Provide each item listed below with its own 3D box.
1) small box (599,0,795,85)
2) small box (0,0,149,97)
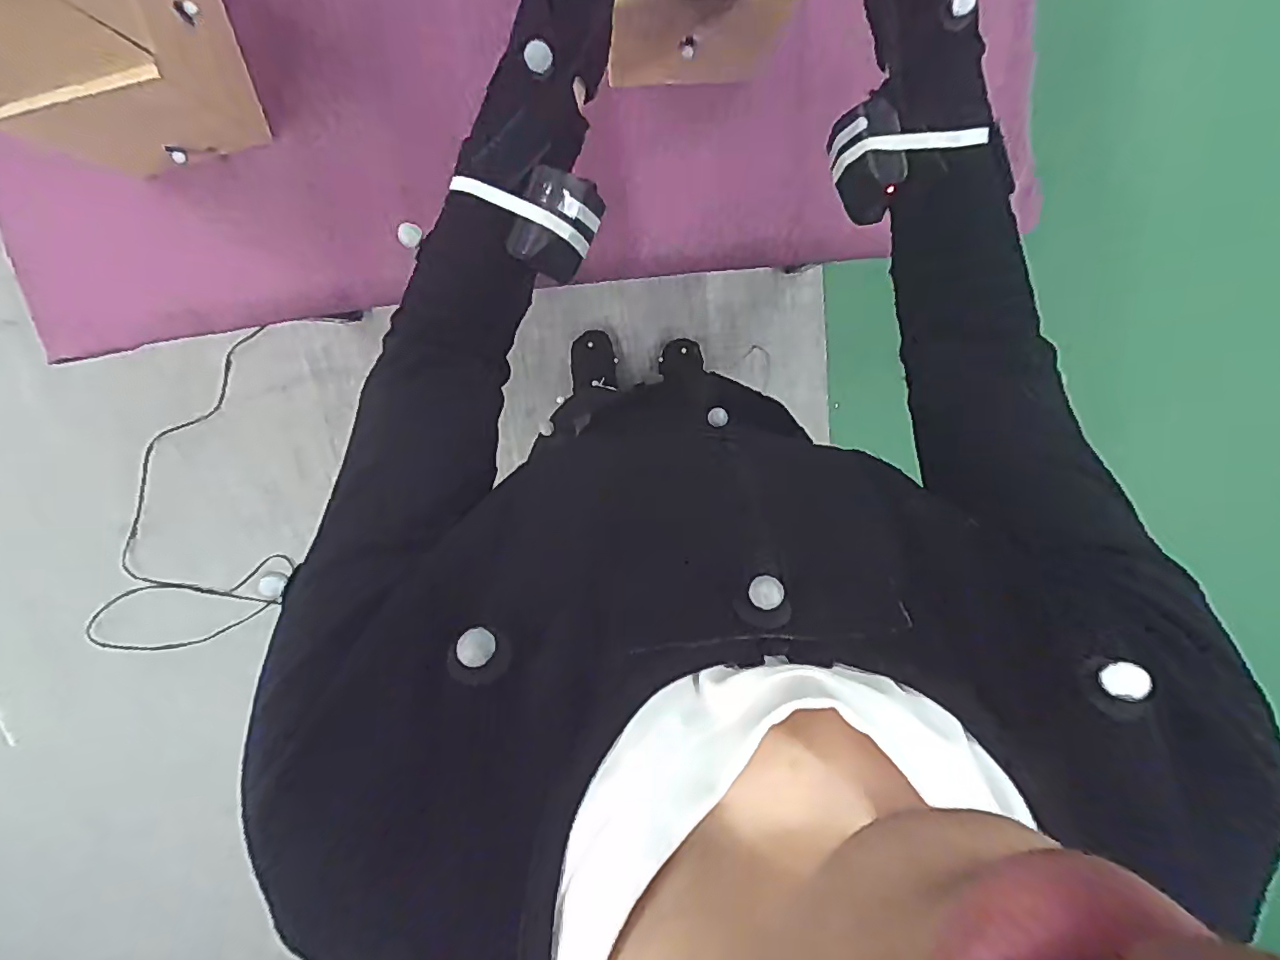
[{"bbox_3d":[0.049,-0.517,0.525,0.179,0.176,0.168,0,102,-2],"label":"small box"},{"bbox_3d":[-0.512,-0.397,0.367,0.179,0.176,0.168,-15,105,1],"label":"small box"}]
